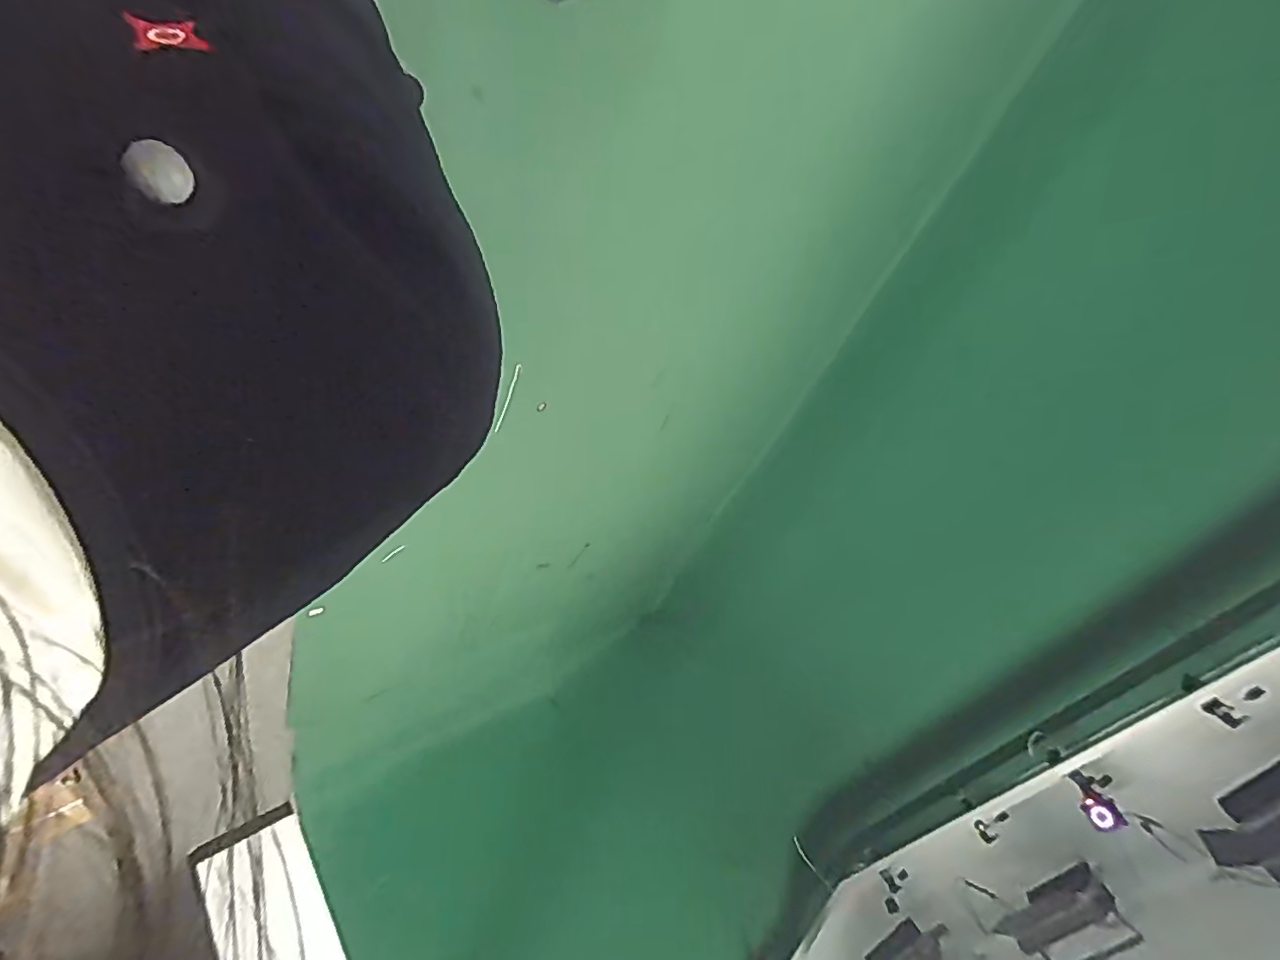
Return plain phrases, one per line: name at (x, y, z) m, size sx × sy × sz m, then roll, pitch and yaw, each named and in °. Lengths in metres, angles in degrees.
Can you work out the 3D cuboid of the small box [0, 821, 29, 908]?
small box at (-1.777, 1.052, 1.430) m, size 0.179 × 0.176 × 0.168 m, roll -15°, pitch 141°, yaw -42°
